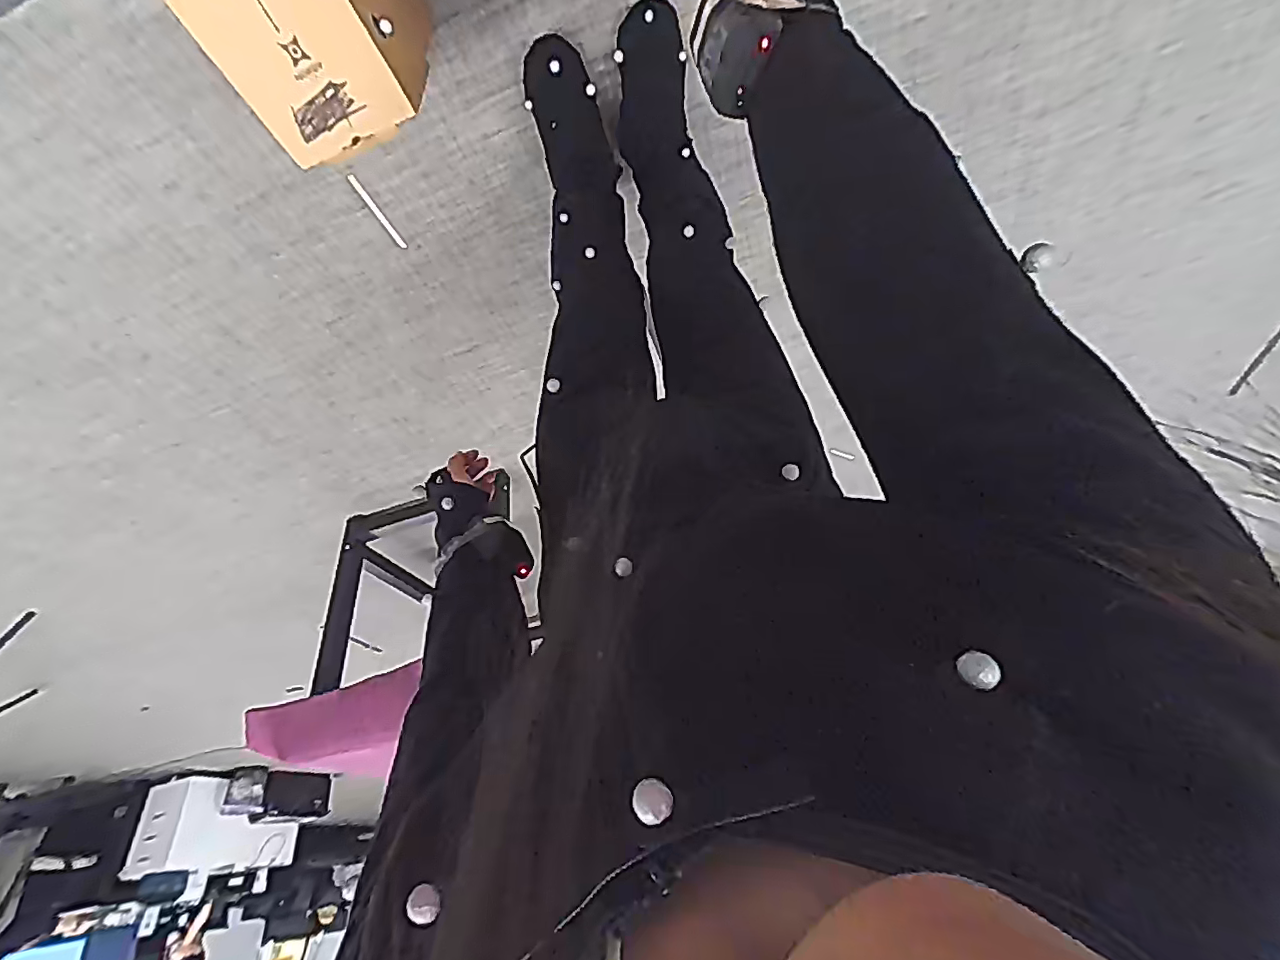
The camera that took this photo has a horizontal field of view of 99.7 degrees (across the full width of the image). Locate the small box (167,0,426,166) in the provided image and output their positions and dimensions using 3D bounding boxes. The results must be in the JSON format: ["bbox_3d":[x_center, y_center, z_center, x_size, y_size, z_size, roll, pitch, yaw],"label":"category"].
[{"bbox_3d":[-0.370,-0.512,0.622,0.168,0.176,0.179,-18,143,10],"label":"small box"}]

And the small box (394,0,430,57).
[{"bbox_3d":[-0.400,-0.643,0.718,0.179,0.176,0.168,-19,143,13],"label":"small box"}]
